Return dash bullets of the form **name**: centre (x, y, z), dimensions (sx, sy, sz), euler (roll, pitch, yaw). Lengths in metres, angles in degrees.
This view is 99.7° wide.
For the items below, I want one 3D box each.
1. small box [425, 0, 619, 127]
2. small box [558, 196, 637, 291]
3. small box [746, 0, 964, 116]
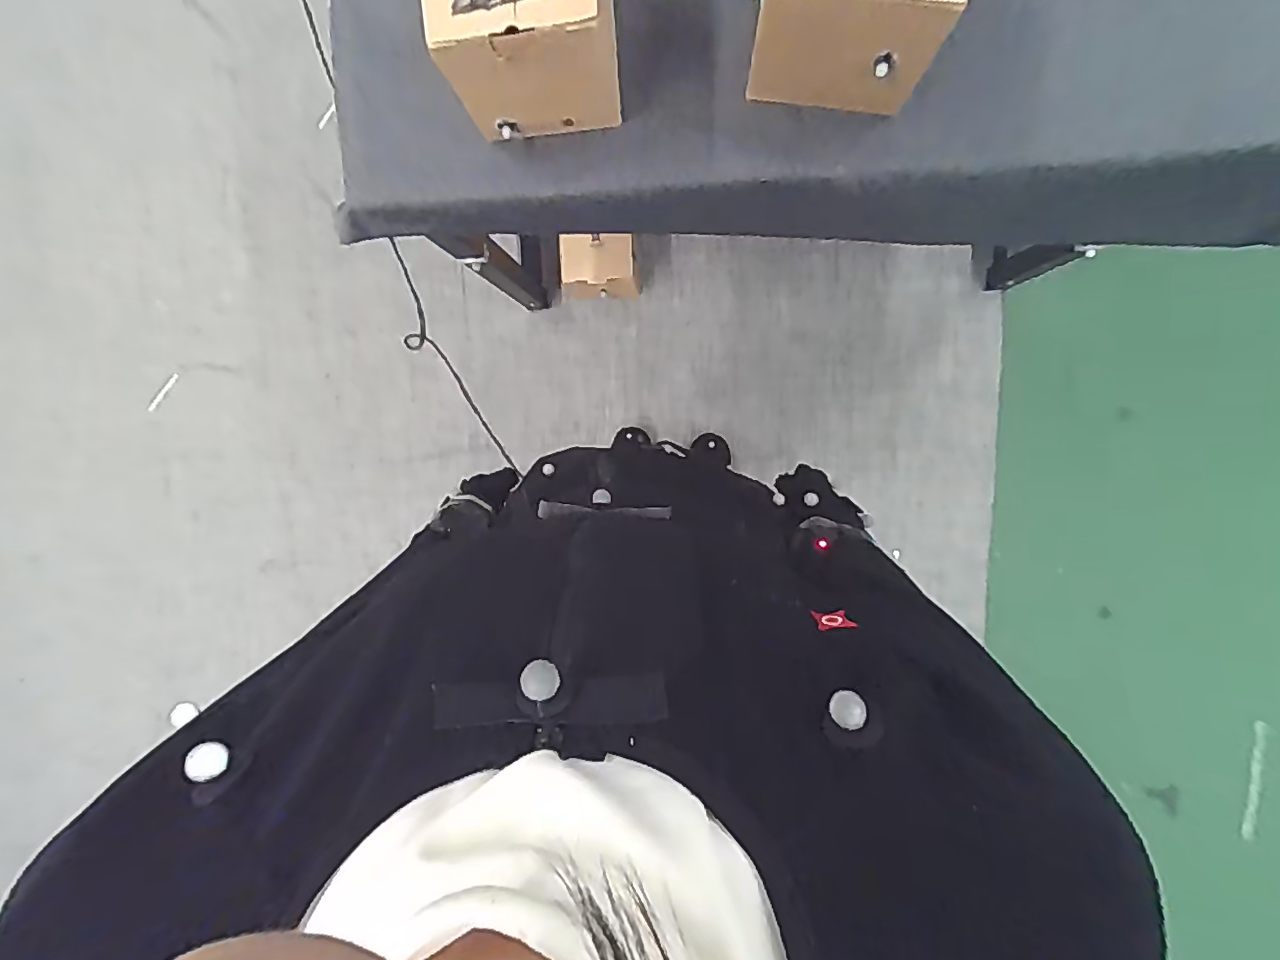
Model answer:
- **small box**: centre (-0.114, -0.504, 0.571), dimensions (0.168, 0.176, 0.179), euler (-2, 94, 4)
- **small box**: centre (-0.096, -0.559, 1.302), dimensions (0.168, 0.176, 0.179), euler (-1, 97, 5)
- **small box**: centre (0.215, -0.505, 0.548), dimensions (0.179, 0.176, 0.168), euler (10, 95, 5)
